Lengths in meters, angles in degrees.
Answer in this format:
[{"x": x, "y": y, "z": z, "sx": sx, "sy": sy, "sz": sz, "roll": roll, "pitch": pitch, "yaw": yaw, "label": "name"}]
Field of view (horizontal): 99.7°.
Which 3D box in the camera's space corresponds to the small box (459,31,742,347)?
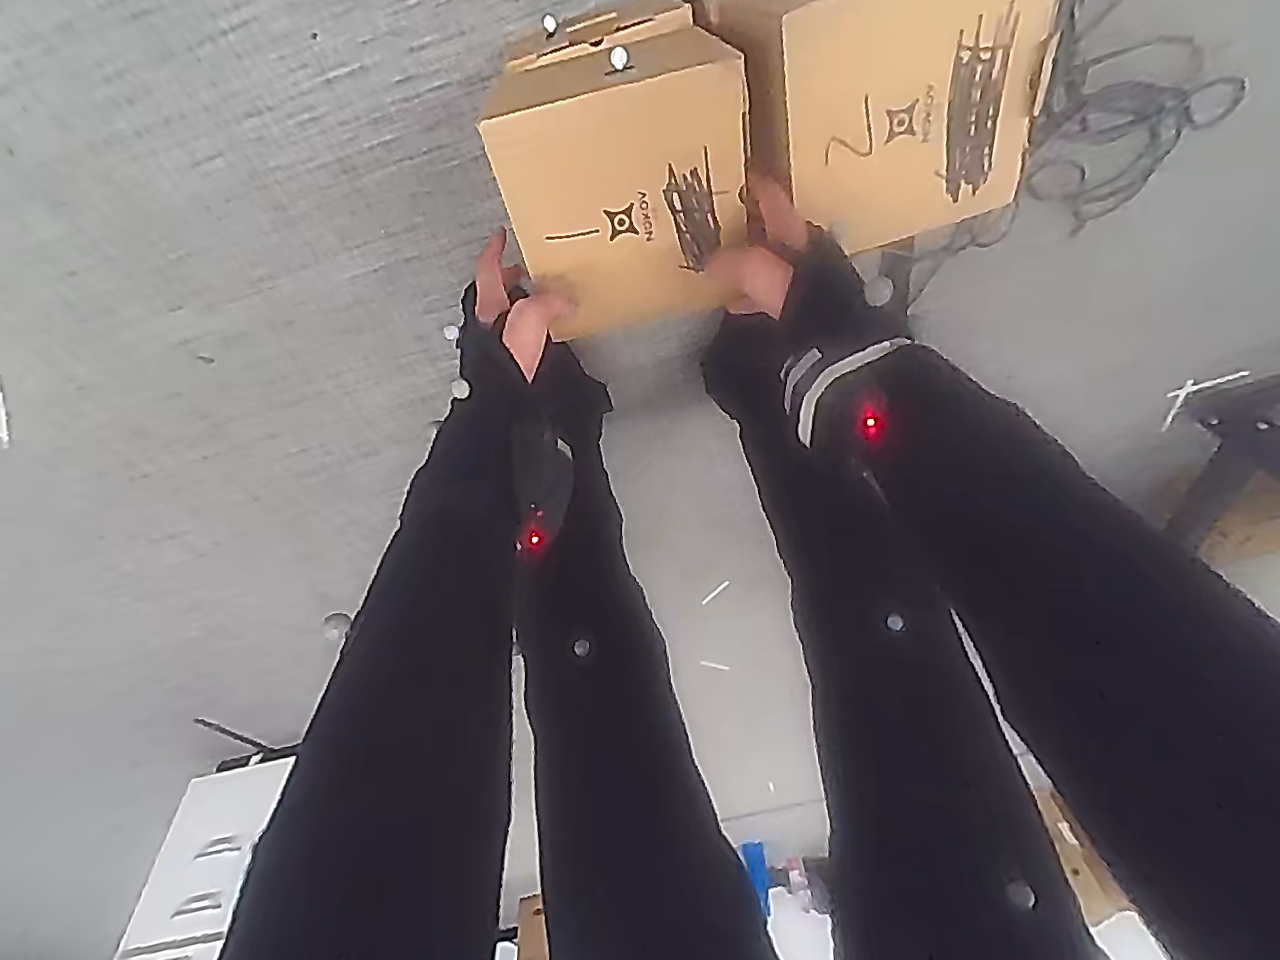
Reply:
[{"x": -0.024, "y": -0.238, "z": 0.442, "sx": 0.179, "sy": 0.176, "sz": 0.168, "roll": -11, "pitch": 135, "yaw": 5, "label": "small box"}]
